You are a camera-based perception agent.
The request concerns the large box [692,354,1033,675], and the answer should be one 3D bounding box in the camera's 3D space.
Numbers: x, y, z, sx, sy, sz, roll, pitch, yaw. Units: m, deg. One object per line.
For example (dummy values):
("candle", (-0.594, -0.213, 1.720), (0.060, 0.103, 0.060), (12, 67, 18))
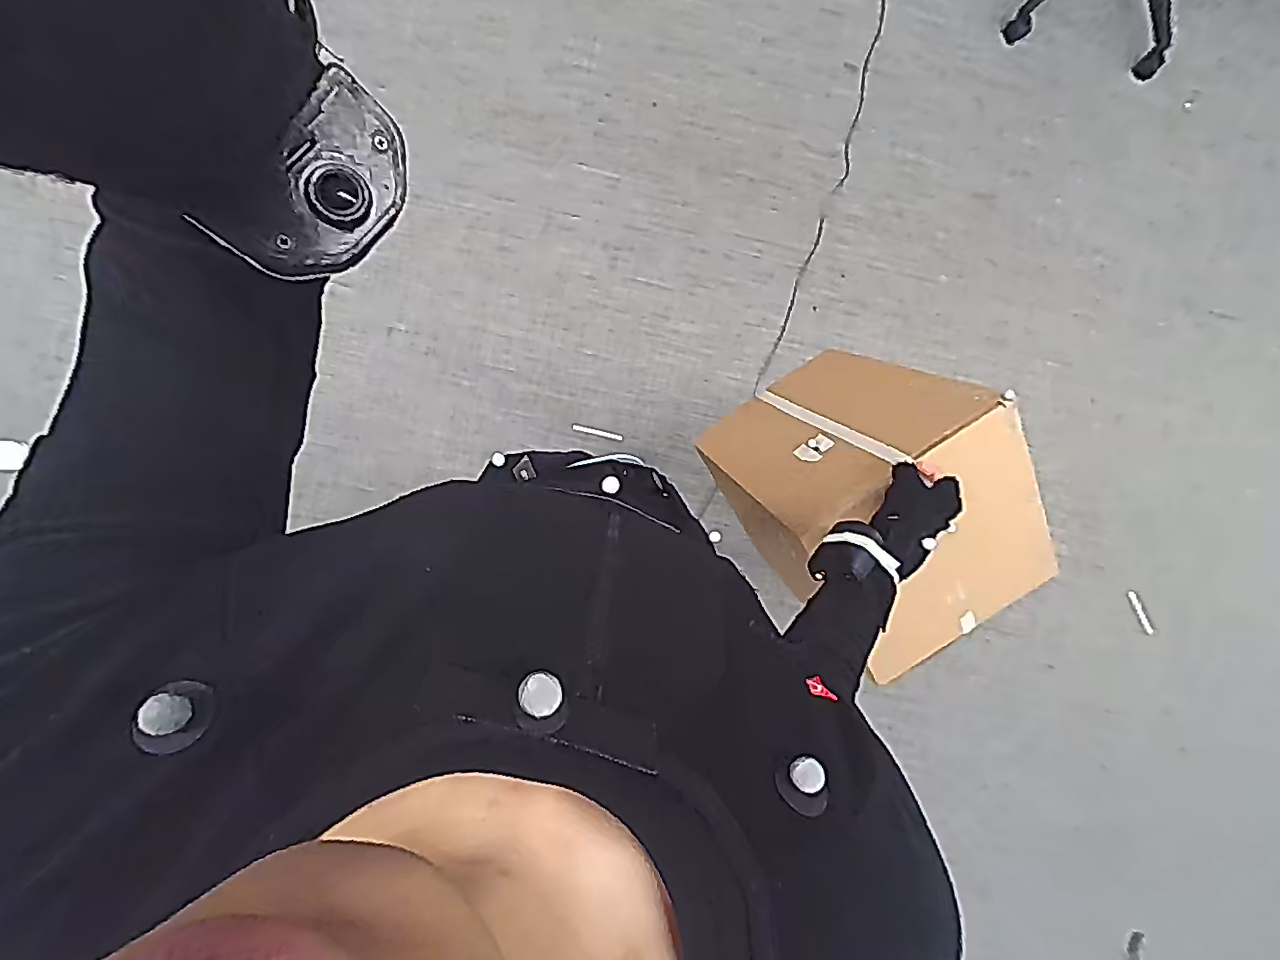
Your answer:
("large box", (0.342, 0.029, 0.907), (0.320, 0.408, 0.320), (-33, 117, 0))
